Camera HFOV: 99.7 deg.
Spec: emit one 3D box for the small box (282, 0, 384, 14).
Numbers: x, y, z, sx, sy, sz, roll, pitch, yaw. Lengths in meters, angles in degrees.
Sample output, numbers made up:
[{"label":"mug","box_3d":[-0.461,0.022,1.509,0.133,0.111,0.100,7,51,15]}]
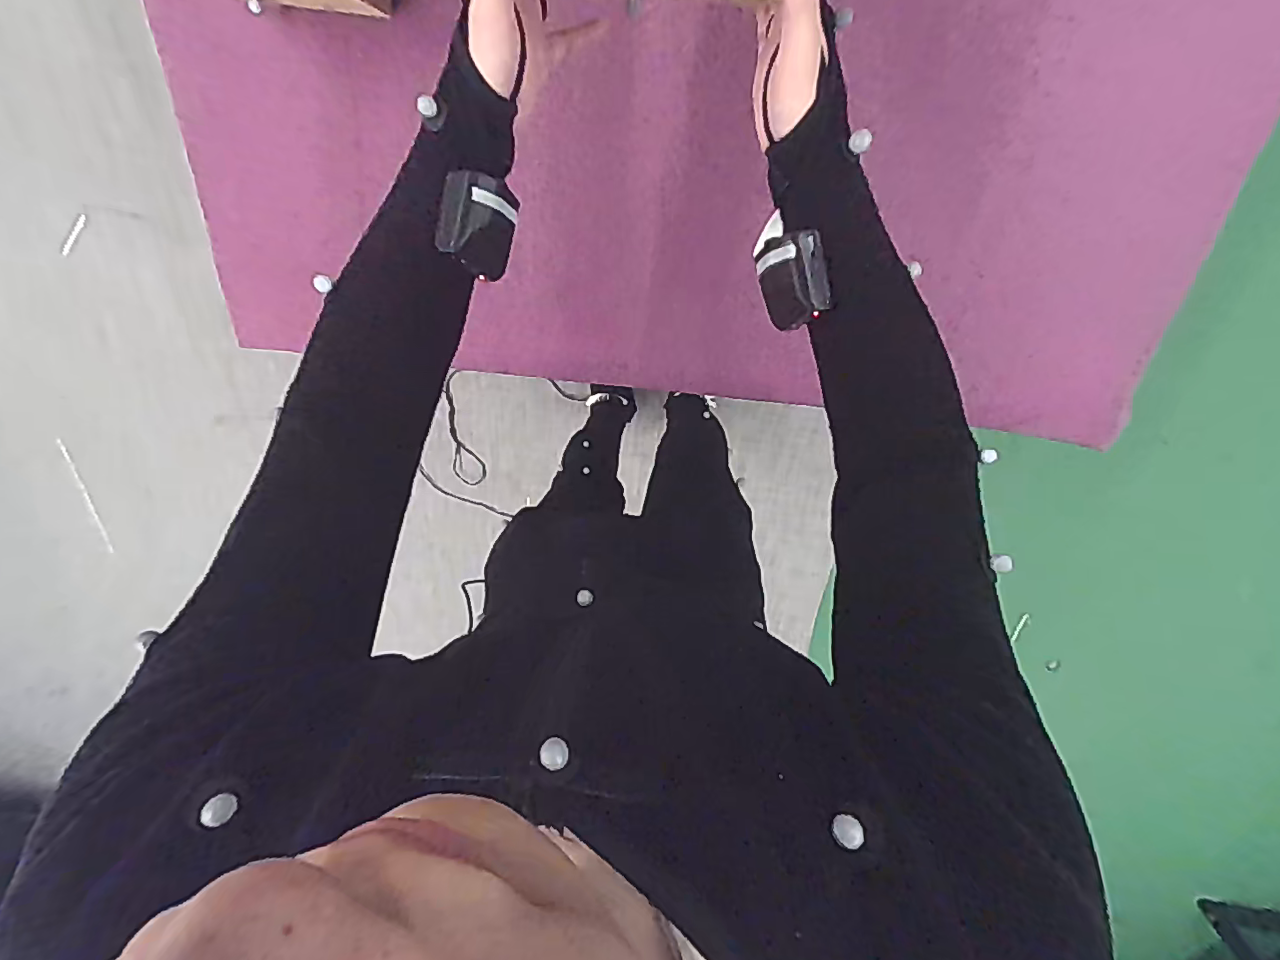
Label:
[{"label":"small box","box_3d":[-0.338,-0.530,0.457,0.168,0.176,0.179,7,120,-1]}]
